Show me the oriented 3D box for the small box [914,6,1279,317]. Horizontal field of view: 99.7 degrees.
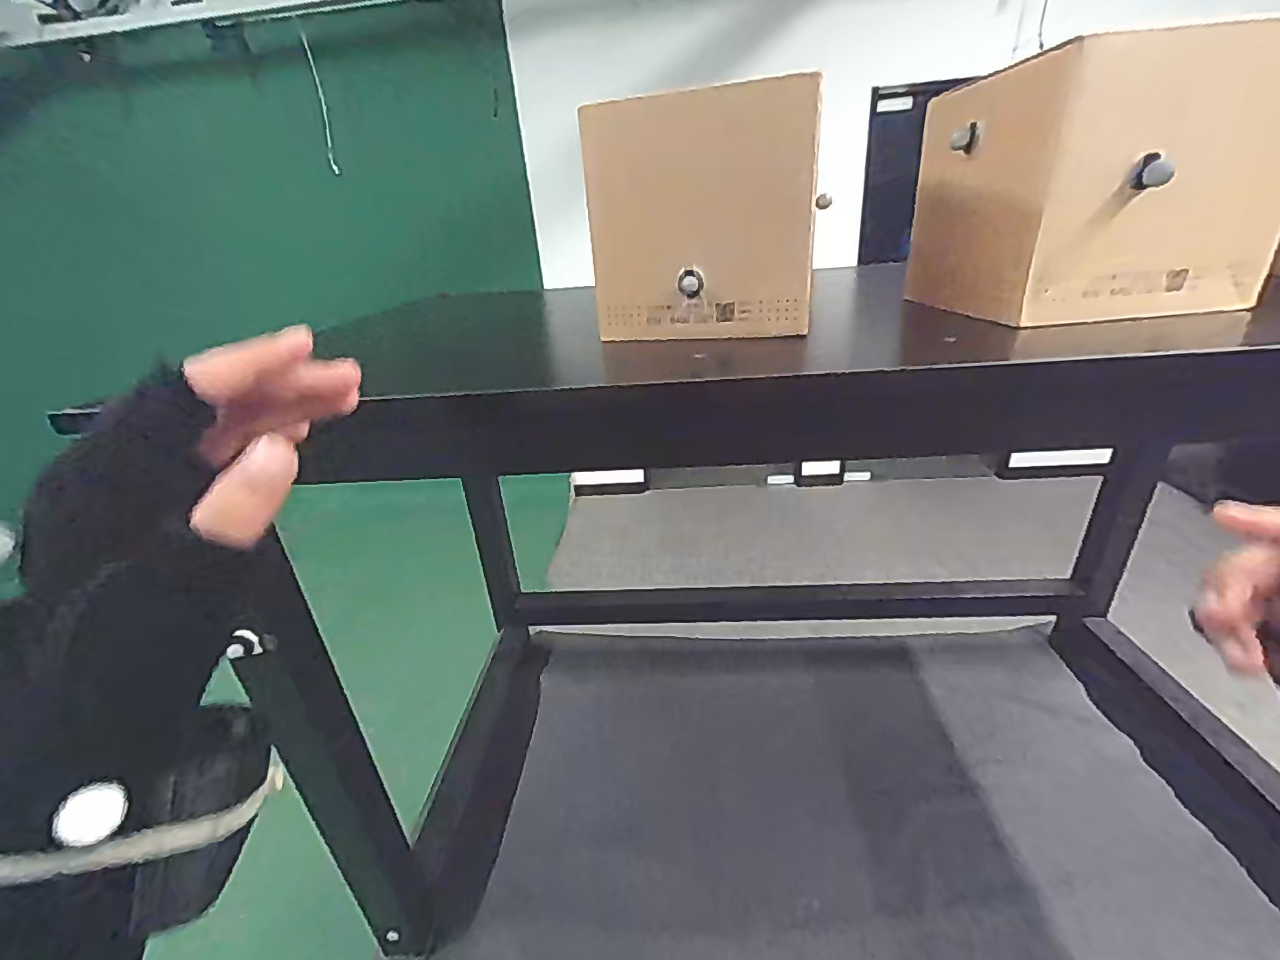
[{"bbox_3d":[0.335,-0.222,0.411,0.168,0.176,0.179,-4,24,1],"label":"small box"}]
